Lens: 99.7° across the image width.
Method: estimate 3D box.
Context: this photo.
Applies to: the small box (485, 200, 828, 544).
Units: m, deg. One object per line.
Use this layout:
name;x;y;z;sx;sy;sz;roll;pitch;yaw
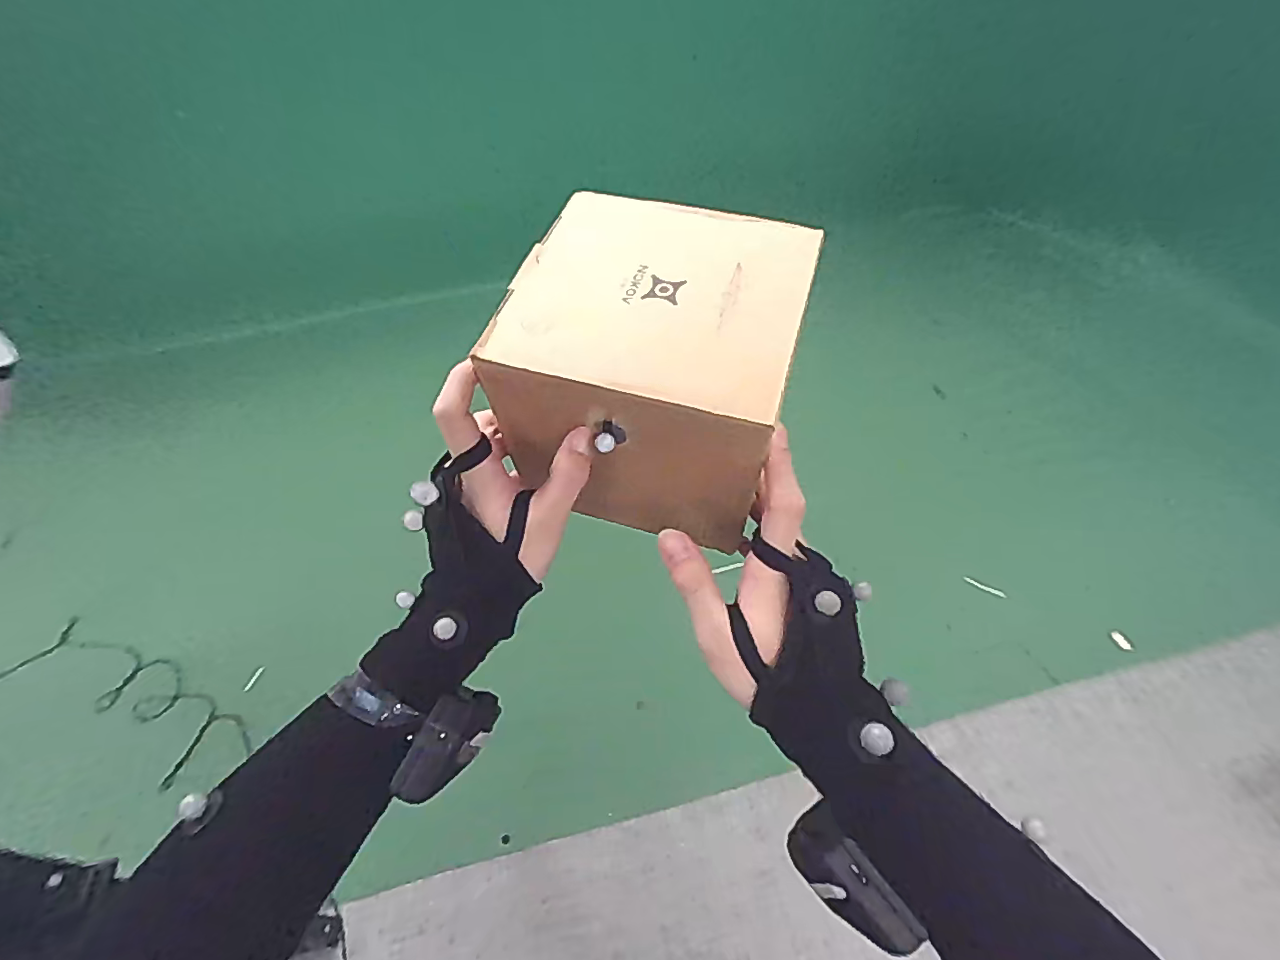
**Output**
small box;0.019;-0.072;0.402;0.179;0.176;0.168;16;61;11
